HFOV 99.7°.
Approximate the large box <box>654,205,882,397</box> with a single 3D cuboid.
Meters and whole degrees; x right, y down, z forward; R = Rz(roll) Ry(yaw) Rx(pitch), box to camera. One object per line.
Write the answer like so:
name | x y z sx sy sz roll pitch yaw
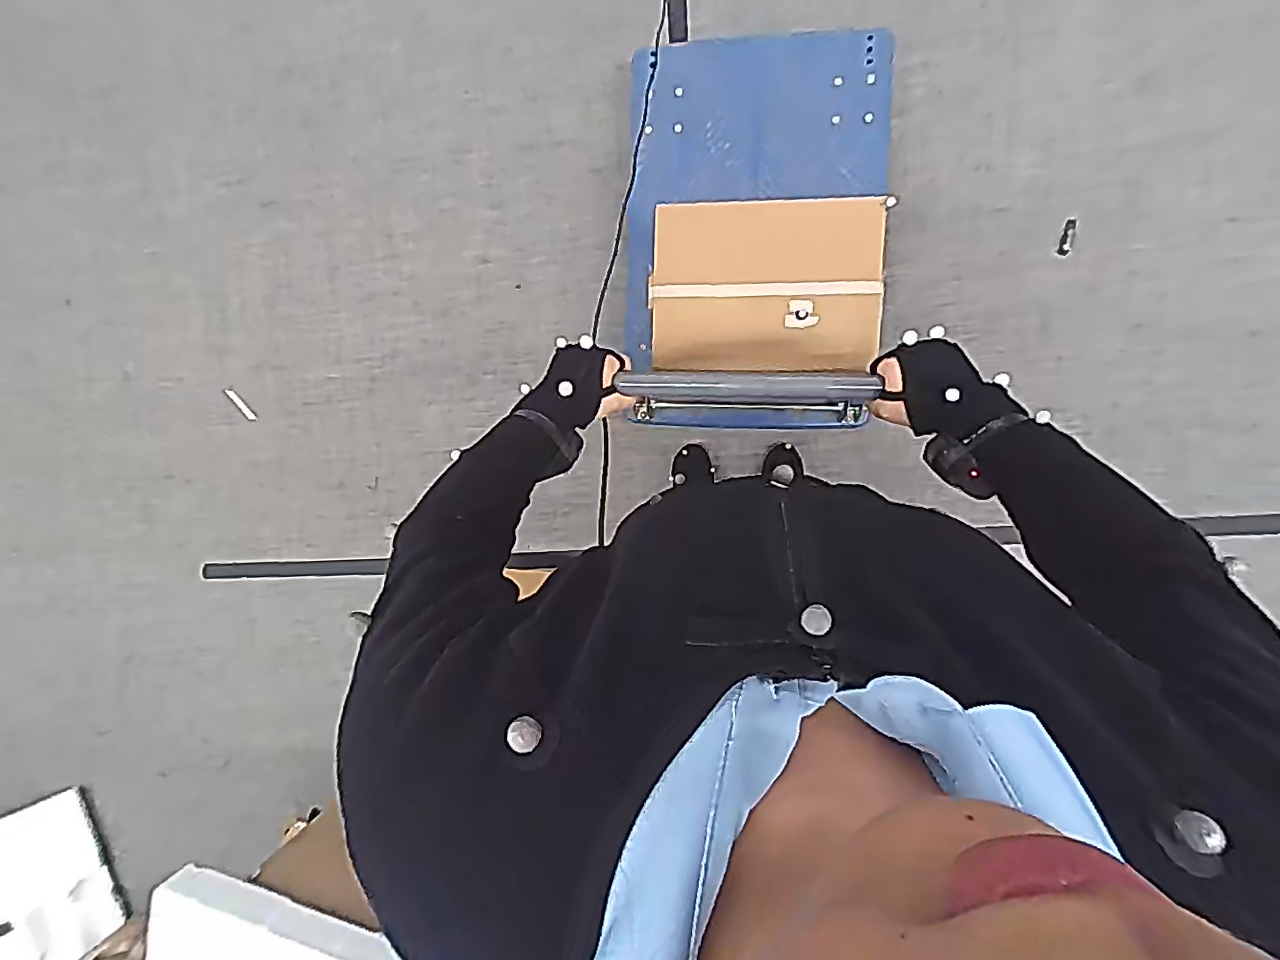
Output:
large box | 0.242 -0.340 1.123 0.408 0.320 0.320 2 95 7
